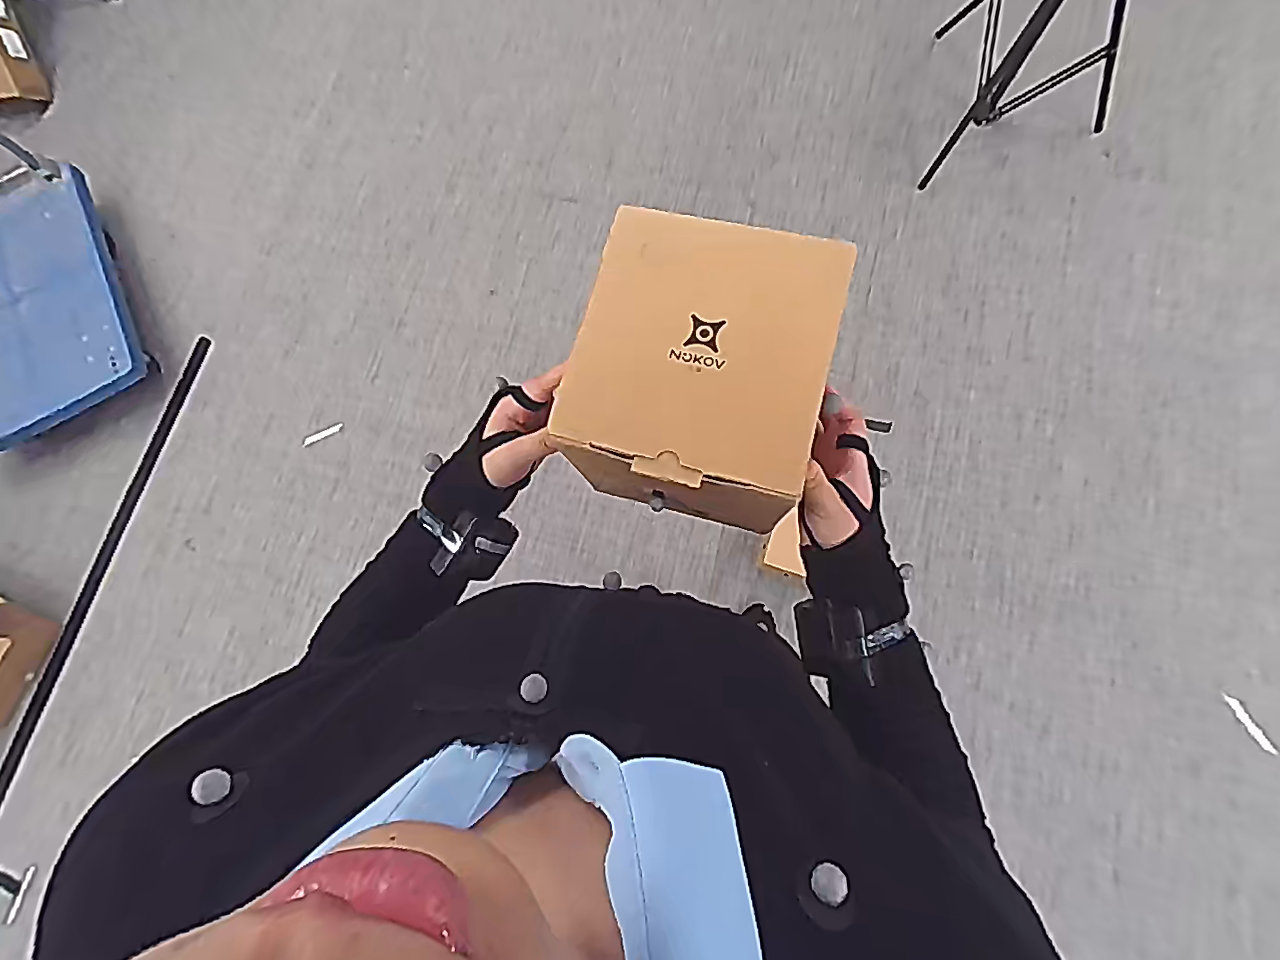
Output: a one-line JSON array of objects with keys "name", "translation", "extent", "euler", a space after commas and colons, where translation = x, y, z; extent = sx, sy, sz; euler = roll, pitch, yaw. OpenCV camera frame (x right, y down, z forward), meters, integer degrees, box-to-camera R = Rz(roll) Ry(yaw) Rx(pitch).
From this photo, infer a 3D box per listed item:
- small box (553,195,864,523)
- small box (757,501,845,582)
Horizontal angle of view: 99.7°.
[{"name": "small box", "translation": [0.052, -0.077, 0.419], "extent": [0.168, 0.176, 0.179], "euler": [14, 80, 9]}, {"name": "small box", "translation": [0.412, 0.161, 1.412], "extent": [0.168, 0.176, 0.179], "euler": [18, 79, 7]}]
